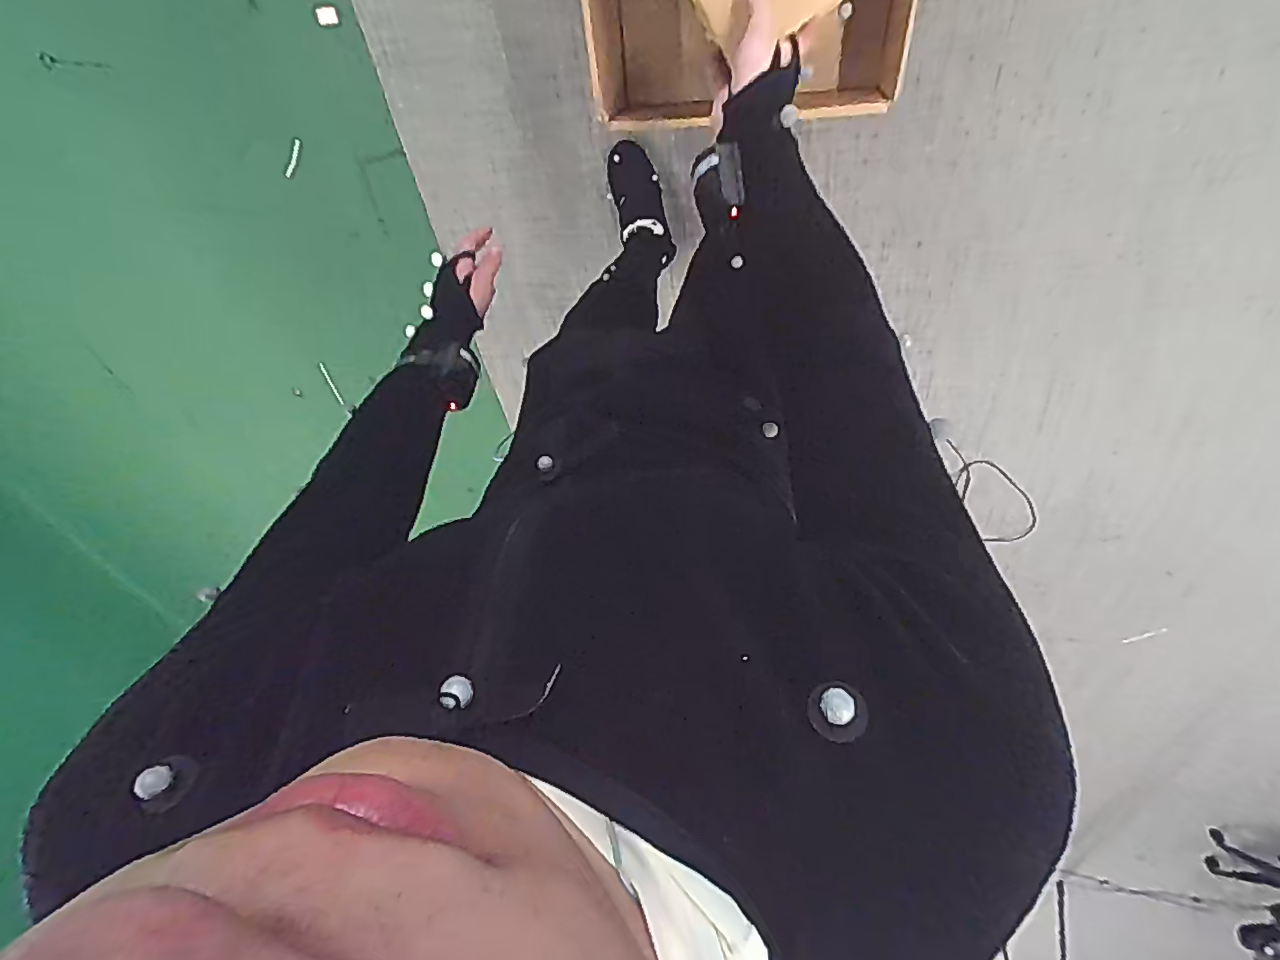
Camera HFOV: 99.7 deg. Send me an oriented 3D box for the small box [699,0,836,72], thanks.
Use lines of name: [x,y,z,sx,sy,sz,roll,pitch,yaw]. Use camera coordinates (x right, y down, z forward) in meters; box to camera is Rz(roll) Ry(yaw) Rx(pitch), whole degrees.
small box: [0.127,-0.528,0.505,0.168,0.176,0.179,-21,119,28]
